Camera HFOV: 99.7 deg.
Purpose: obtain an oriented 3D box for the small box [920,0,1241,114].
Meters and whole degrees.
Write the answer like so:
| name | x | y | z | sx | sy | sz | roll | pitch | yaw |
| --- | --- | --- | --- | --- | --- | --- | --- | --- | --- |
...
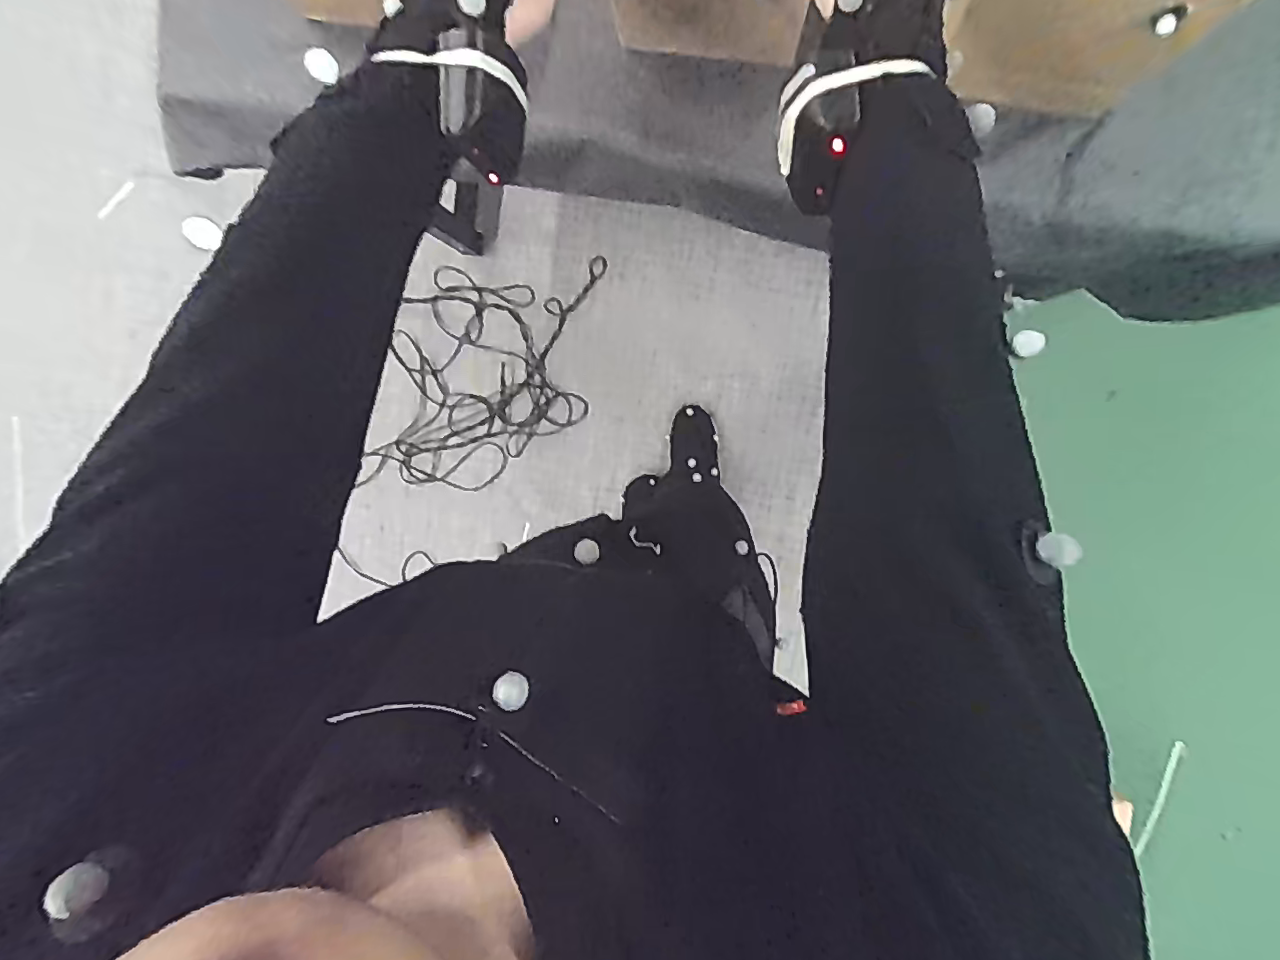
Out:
| name | x | y | z | sx | sy | sz | roll | pitch | yaw |
| --- | --- | --- | --- | --- | --- | --- | --- | --- | --- |
| small box | 0.354 | -0.425 | 0.426 | 0.179 | 0.176 | 0.168 | 13 | 99 | 5 |

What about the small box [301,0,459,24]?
| name | x | y | z | sx | sy | sz | roll | pitch | yaw |
| --- | --- | --- | --- | --- | --- | --- | --- | --- | --- |
| small box | -0.274 | -0.554 | 0.482 | 0.179 | 0.176 | 0.168 | 9 | 100 | 4 |
